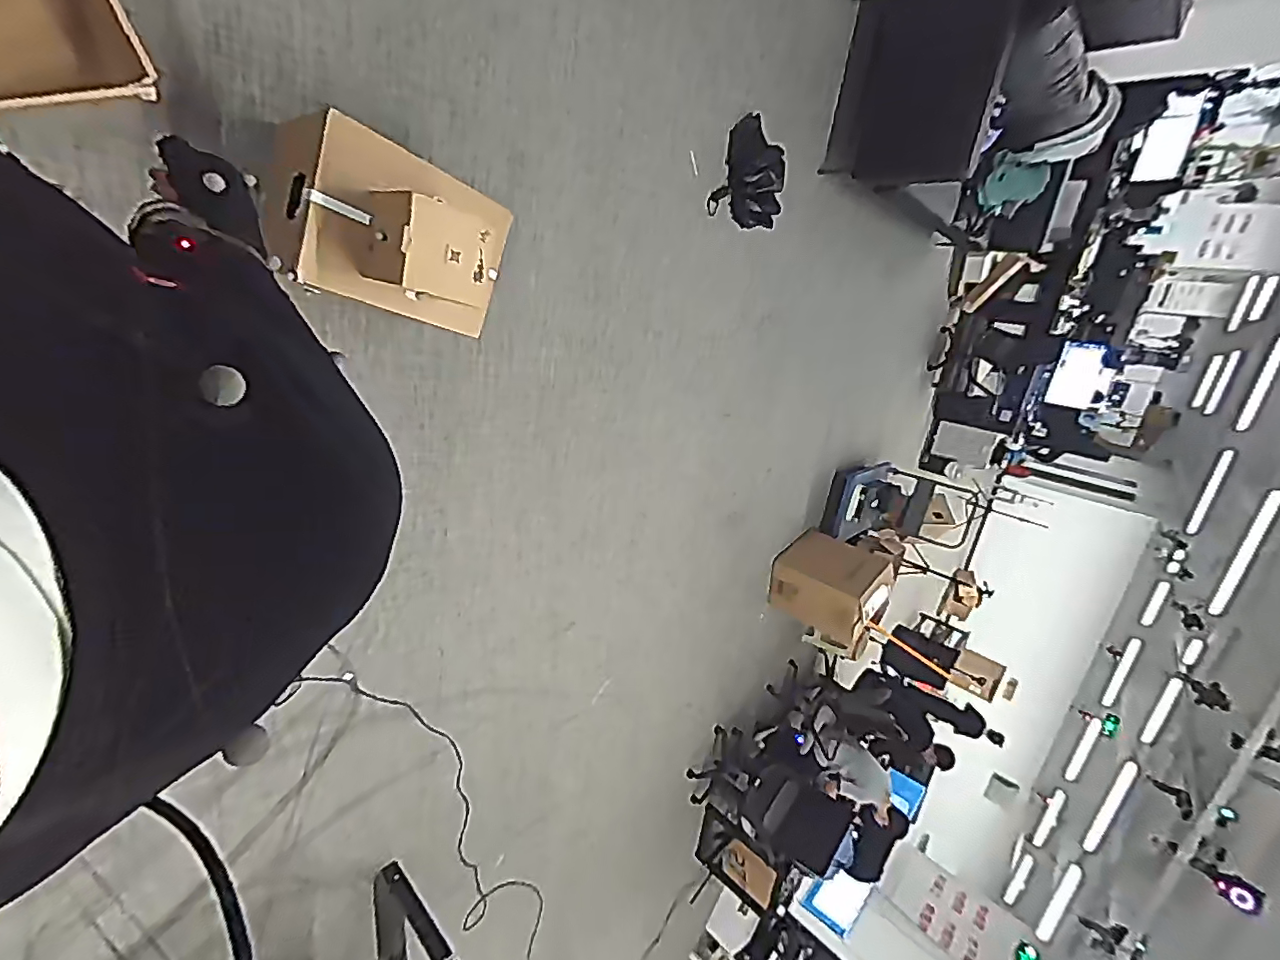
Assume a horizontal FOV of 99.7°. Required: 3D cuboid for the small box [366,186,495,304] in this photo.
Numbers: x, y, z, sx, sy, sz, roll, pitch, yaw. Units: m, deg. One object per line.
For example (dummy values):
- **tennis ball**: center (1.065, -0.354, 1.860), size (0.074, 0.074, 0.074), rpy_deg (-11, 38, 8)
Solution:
- **small box**: center (-0.417, -0.458, 1.067), size (0.179, 0.176, 0.168), rpy_deg (-1, 110, -49)
